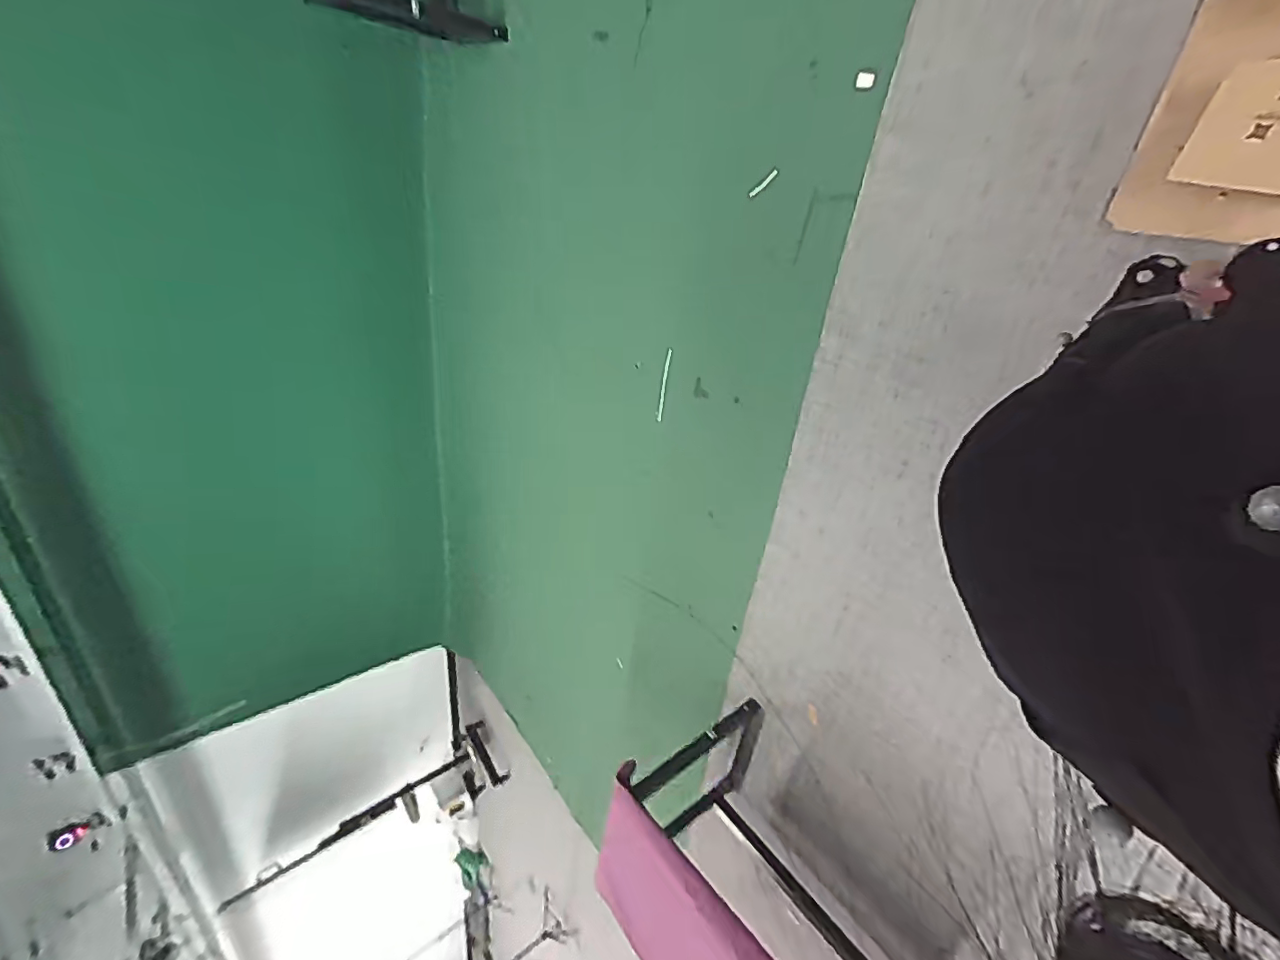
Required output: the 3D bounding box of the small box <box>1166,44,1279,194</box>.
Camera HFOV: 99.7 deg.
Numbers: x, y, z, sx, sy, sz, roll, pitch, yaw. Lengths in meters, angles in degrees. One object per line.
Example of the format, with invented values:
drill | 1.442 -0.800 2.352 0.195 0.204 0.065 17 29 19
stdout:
small box | 1.028 -0.581 0.884 0.168 0.176 0.179 38 129 36
